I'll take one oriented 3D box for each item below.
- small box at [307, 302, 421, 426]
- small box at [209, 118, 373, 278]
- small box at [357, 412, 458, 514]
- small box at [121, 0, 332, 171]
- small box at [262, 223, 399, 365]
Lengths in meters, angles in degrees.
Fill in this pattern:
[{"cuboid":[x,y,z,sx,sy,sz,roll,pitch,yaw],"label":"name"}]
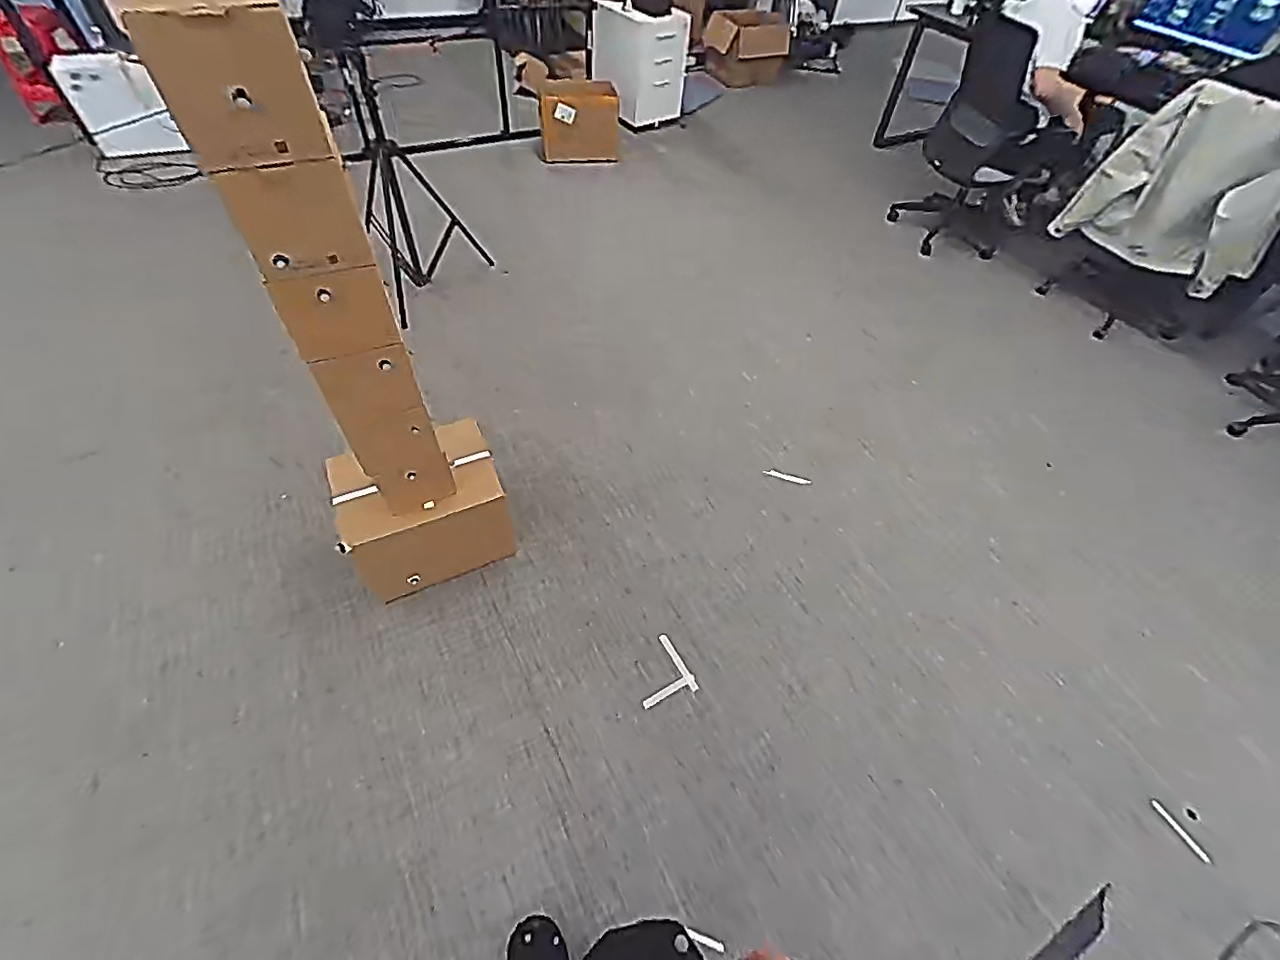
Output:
[{"cuboid":[-0.566,-0.239,1.112,0.179,0.176,0.168,-19,57,-18],"label":"small box"},{"cuboid":[-0.543,-0.438,0.855,0.168,0.176,0.179,-19,56,-18],"label":"small box"},{"cuboid":[-0.585,-0.039,1.373,0.179,0.176,0.168,-22,58,-21],"label":"small box"},{"cuboid":[-0.536,-0.534,0.722,0.168,0.176,0.179,-20,58,-18],"label":"small box"},{"cuboid":[-0.556,-0.337,0.984,0.179,0.176,0.168,-19,57,-18],"label":"small box"}]
